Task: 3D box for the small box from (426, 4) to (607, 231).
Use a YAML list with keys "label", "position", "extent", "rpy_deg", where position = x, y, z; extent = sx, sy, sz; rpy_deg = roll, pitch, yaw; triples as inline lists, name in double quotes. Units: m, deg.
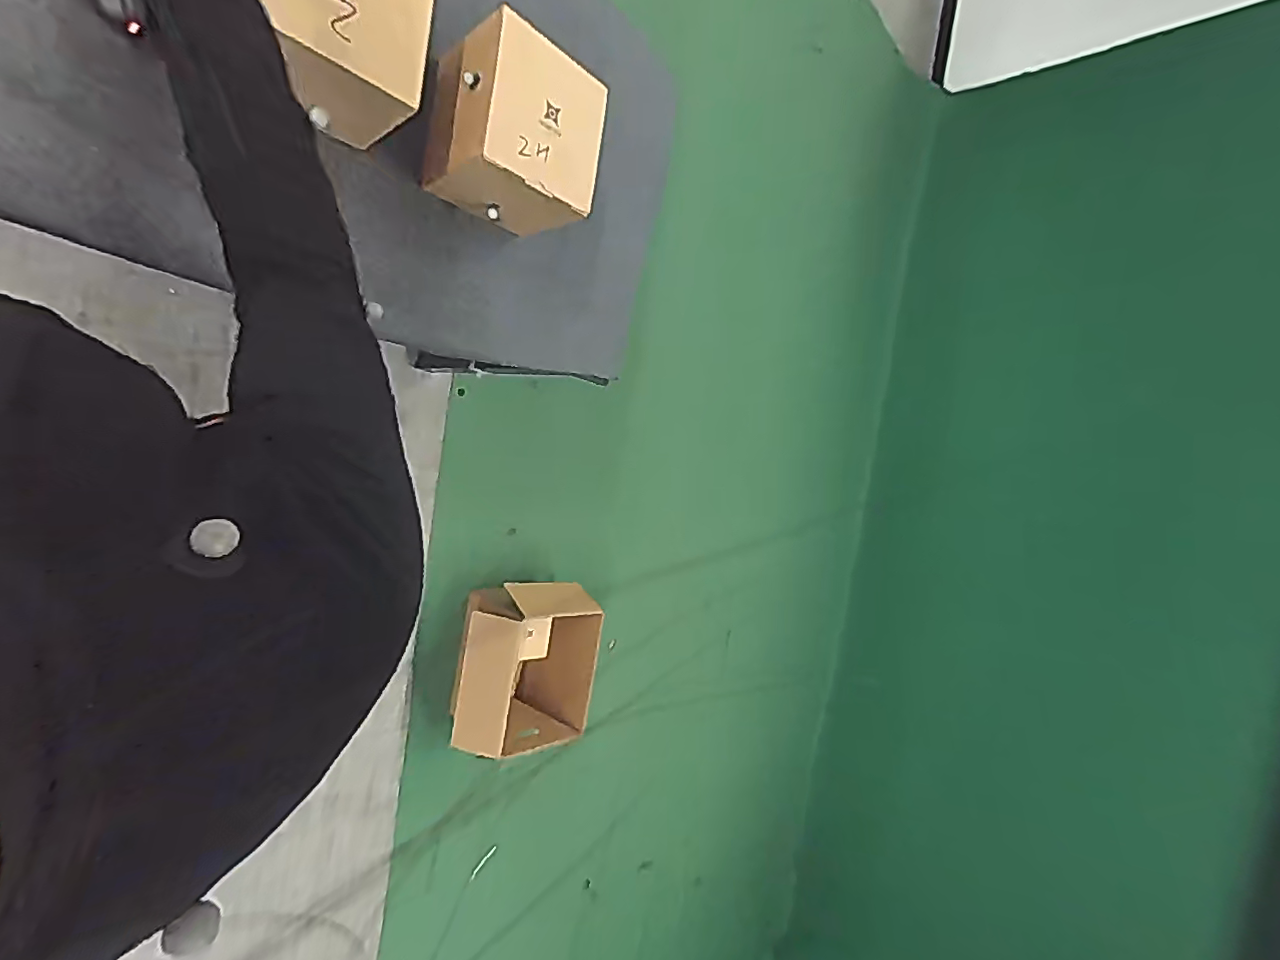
- label: "small box"
  position: [-0.171, -0.469, 0.735]
  extent: [0.168, 0.176, 0.179]
  rpy_deg: [7, 94, -46]
